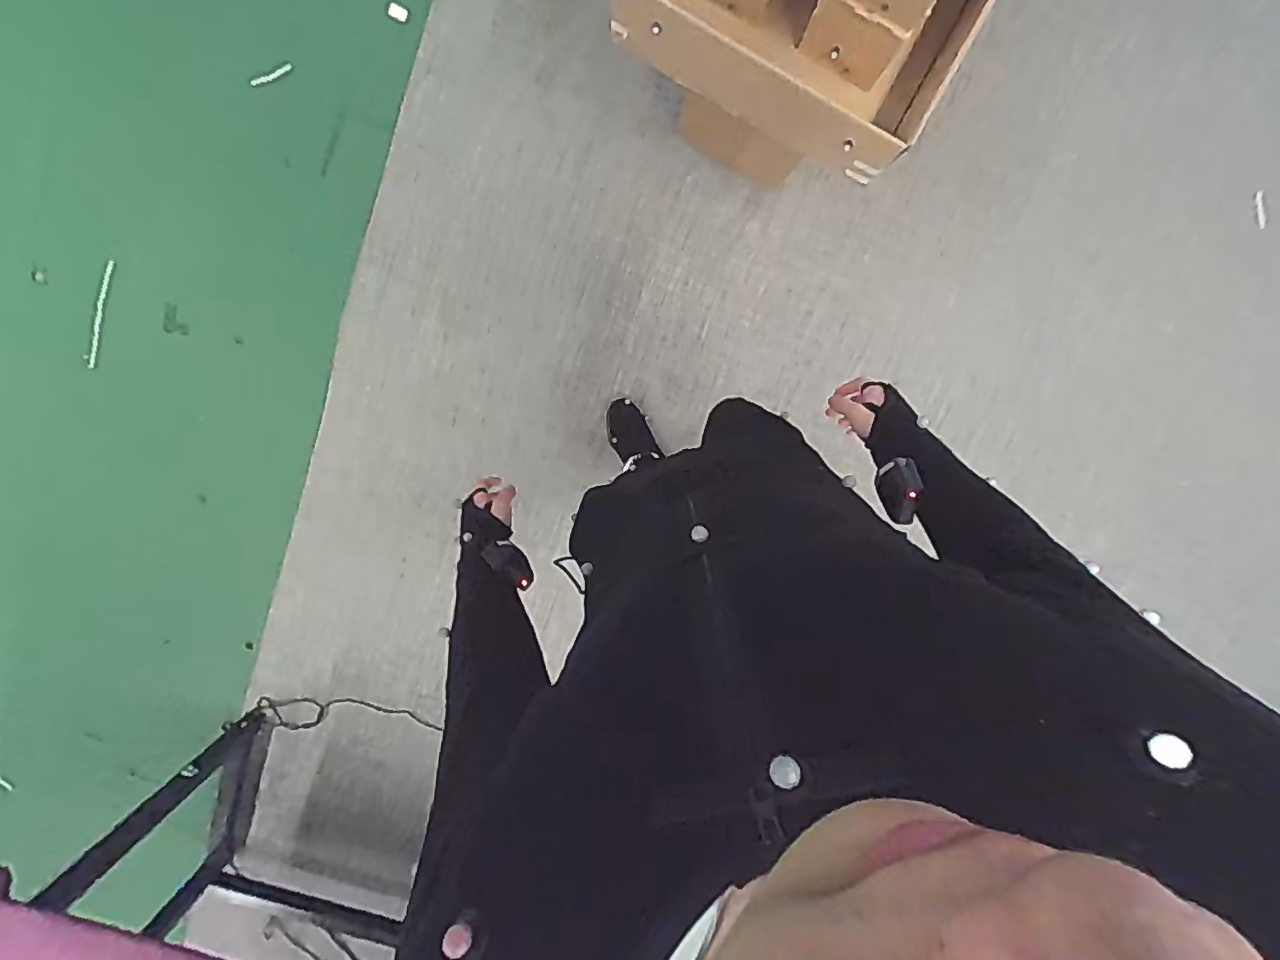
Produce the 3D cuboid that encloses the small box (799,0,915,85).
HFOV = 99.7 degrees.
[{"bbox_3d":[0.408,-0.862,0.958,0.168,0.176,0.179,26,101,-6],"label":"small box"}]

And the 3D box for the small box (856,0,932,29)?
[{"bbox_3d":[0.413,-0.838,0.796,0.168,0.176,0.179,28,100,-5],"label":"small box"}]
